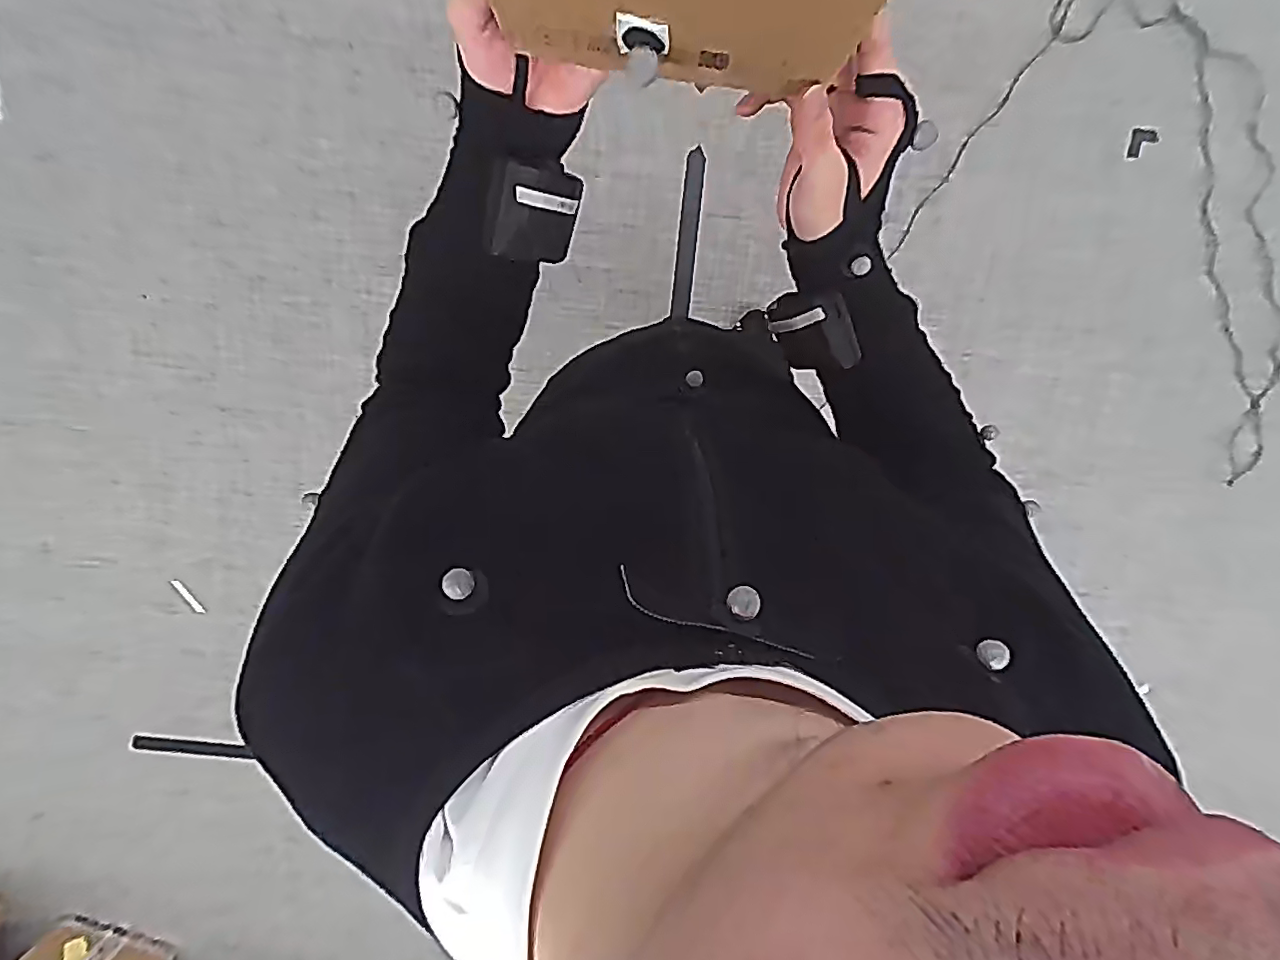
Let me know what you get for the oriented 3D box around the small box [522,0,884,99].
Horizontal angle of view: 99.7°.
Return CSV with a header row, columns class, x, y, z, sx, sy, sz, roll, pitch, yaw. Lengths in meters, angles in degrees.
class,x,y,z,sx,sy,sz,roll,pitch,yaw
small box,0.028,-0.283,0.197,0.168,0.176,0.179,6,103,-1
